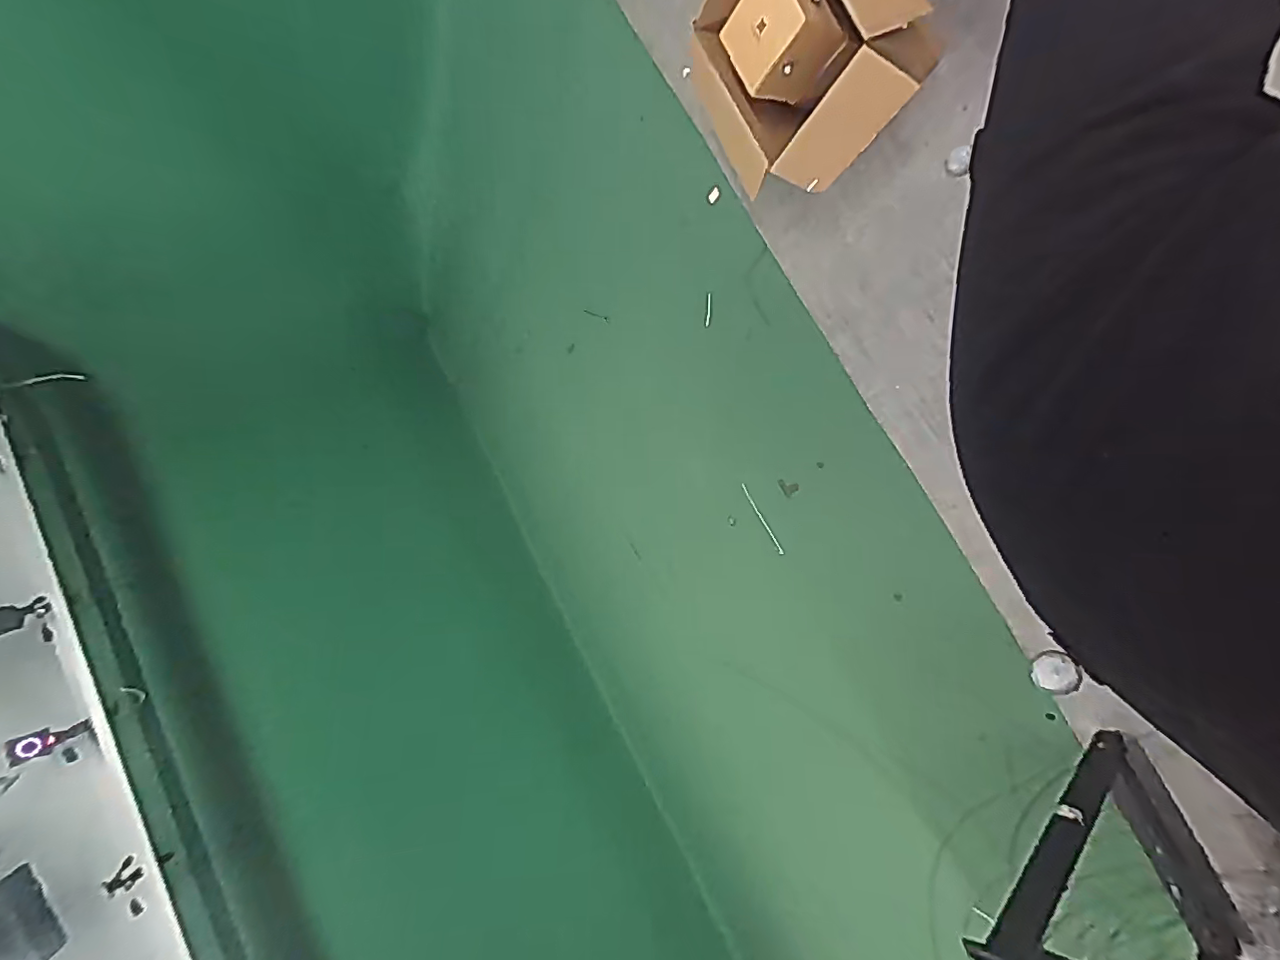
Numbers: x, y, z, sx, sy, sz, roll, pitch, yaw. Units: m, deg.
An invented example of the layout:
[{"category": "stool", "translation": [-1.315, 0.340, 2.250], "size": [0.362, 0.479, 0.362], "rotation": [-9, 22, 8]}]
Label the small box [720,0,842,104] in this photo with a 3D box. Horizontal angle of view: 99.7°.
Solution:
[{"category": "small box", "translation": [0.318, -0.977, 1.198], "size": [0.179, 0.176, 0.168], "rotation": [-33, 81, 55]}]
